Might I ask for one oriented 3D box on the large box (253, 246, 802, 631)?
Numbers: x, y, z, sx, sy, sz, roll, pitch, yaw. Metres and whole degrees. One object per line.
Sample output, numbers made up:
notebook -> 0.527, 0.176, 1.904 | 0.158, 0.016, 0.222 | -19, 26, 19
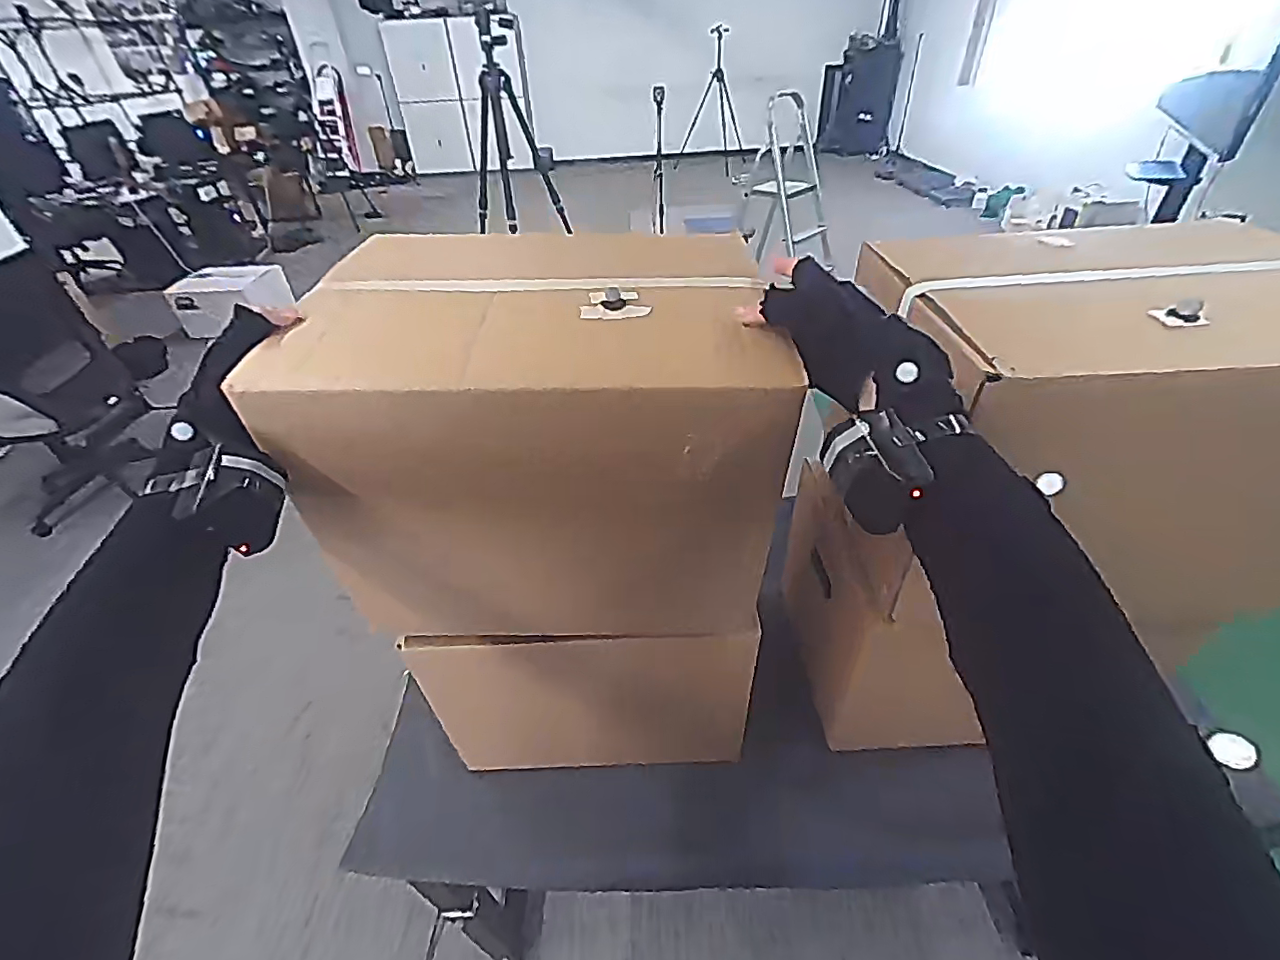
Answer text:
large box -> -0.086, -0.049, 0.596 | 0.408, 0.320, 0.320 | 0, 43, -1
